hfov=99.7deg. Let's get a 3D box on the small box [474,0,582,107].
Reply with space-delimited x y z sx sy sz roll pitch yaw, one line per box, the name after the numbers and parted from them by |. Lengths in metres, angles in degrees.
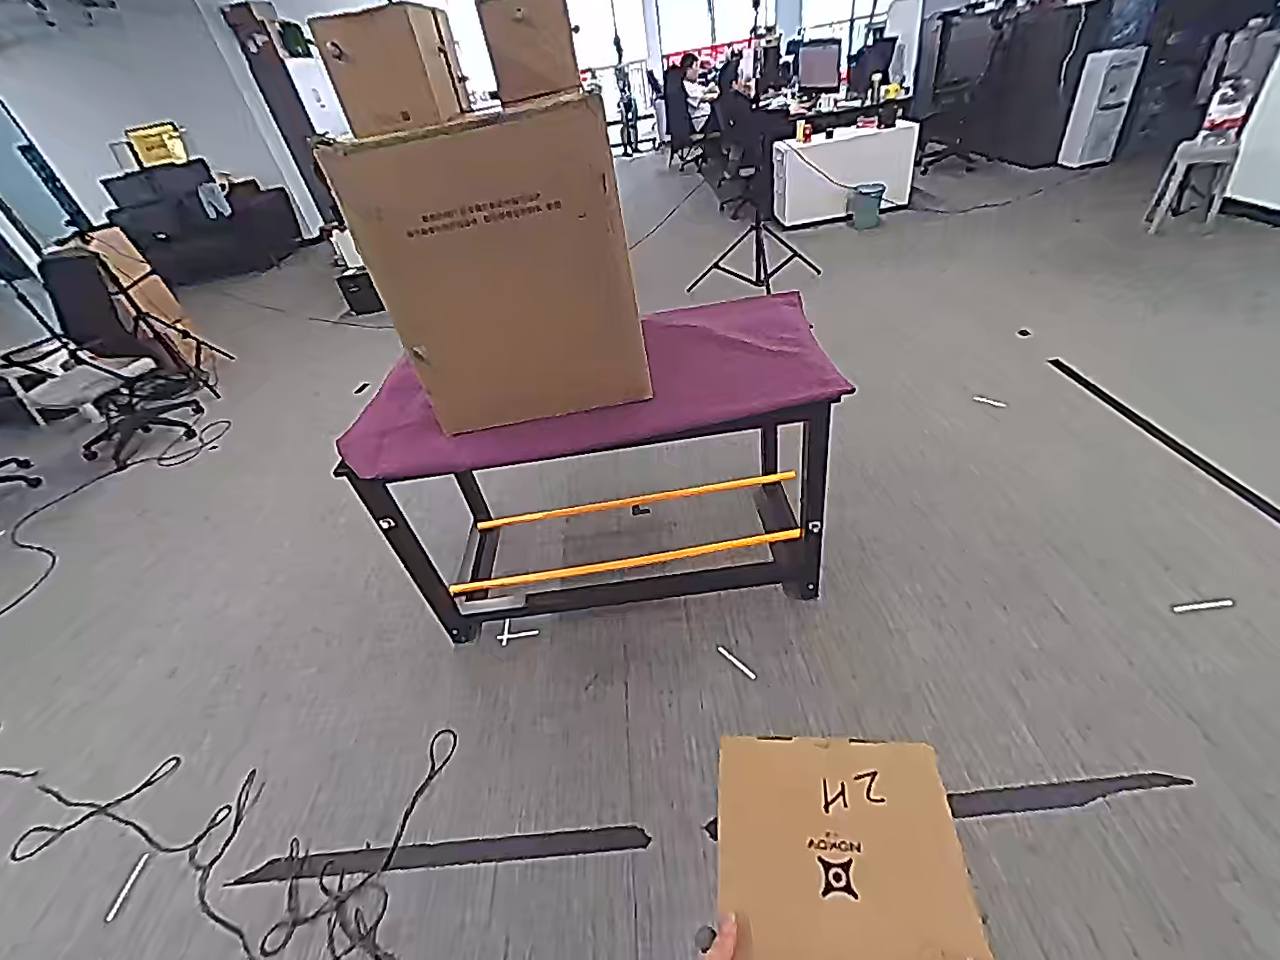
-0.219 -0.897 1.120 0.179 0.176 0.168 -11 38 3 | small box
